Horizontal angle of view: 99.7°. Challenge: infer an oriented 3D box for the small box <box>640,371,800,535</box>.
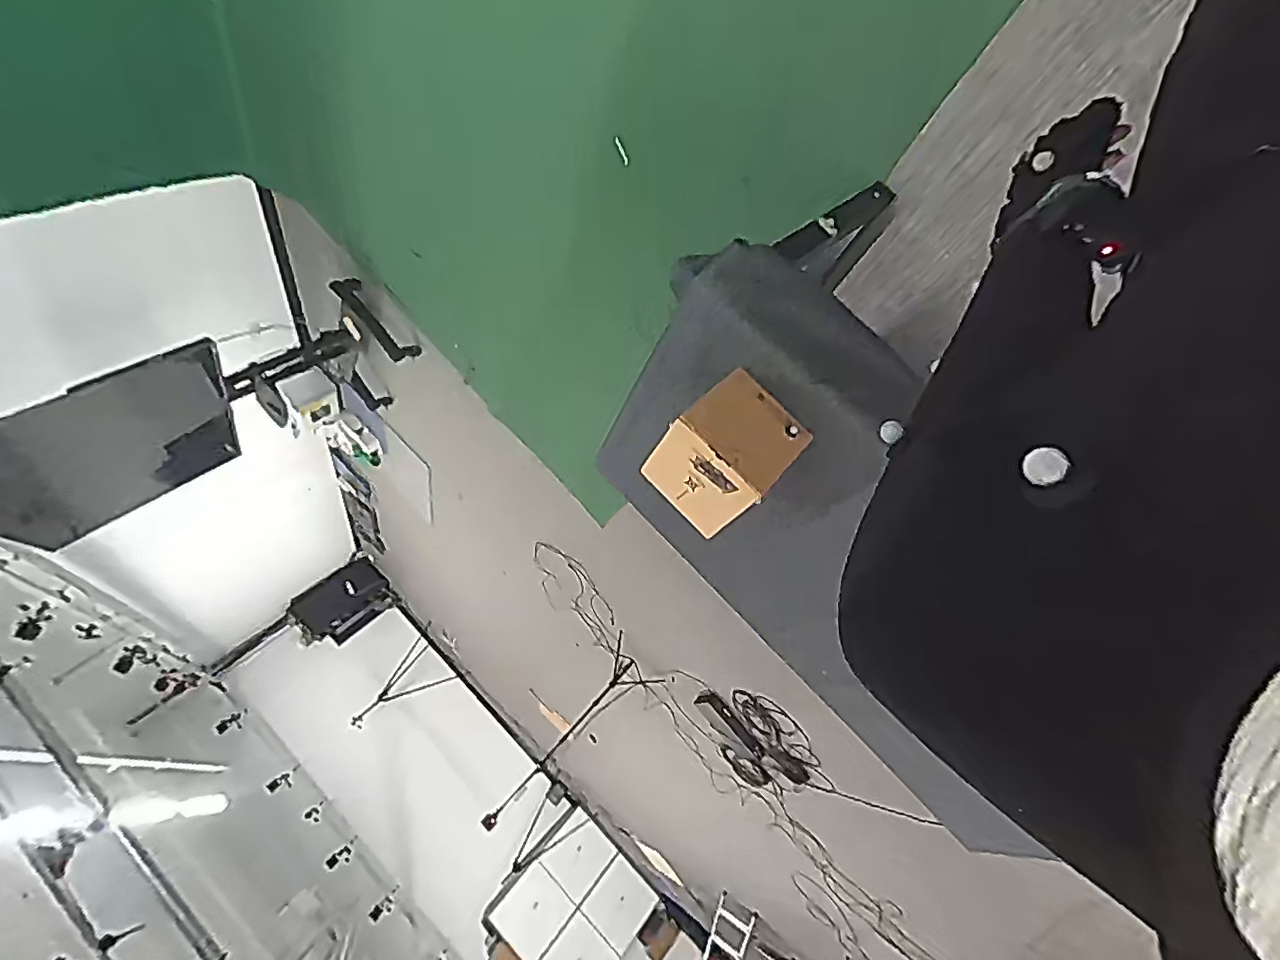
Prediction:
[{"bbox_3d":[0.134,-0.046,0.885,0.168,0.176,0.179,45,148,5],"label":"small box"}]
